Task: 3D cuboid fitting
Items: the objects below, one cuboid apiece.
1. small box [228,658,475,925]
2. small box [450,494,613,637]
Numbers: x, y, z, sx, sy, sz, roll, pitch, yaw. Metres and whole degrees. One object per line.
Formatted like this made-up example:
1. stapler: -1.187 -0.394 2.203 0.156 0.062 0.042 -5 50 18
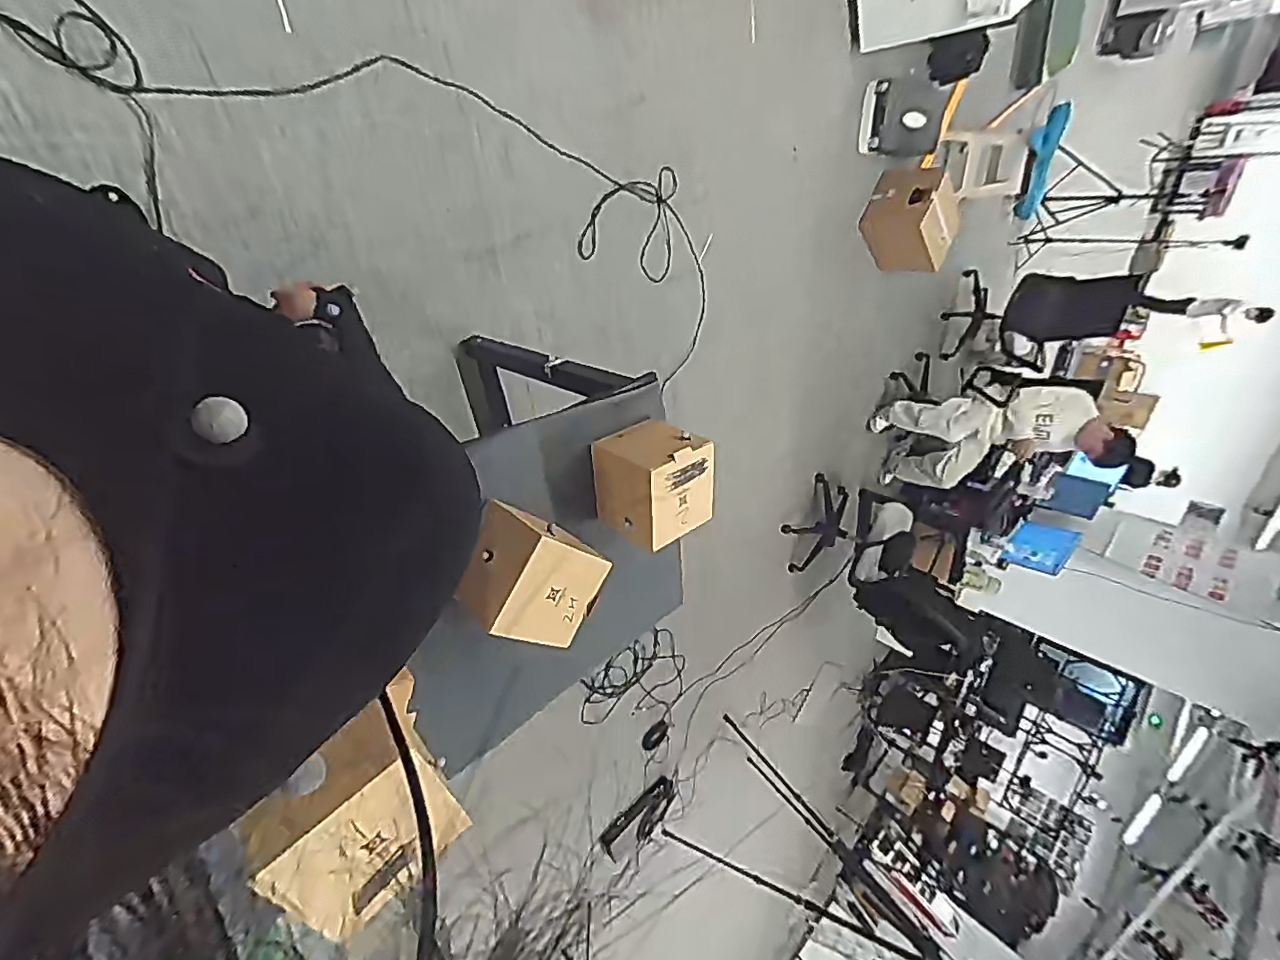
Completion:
1. small box: -0.325 0.342 0.621 0.168 0.176 0.179 -36 131 -30
2. small box: -0.187 0.140 0.914 0.179 0.176 0.168 32 86 -49
